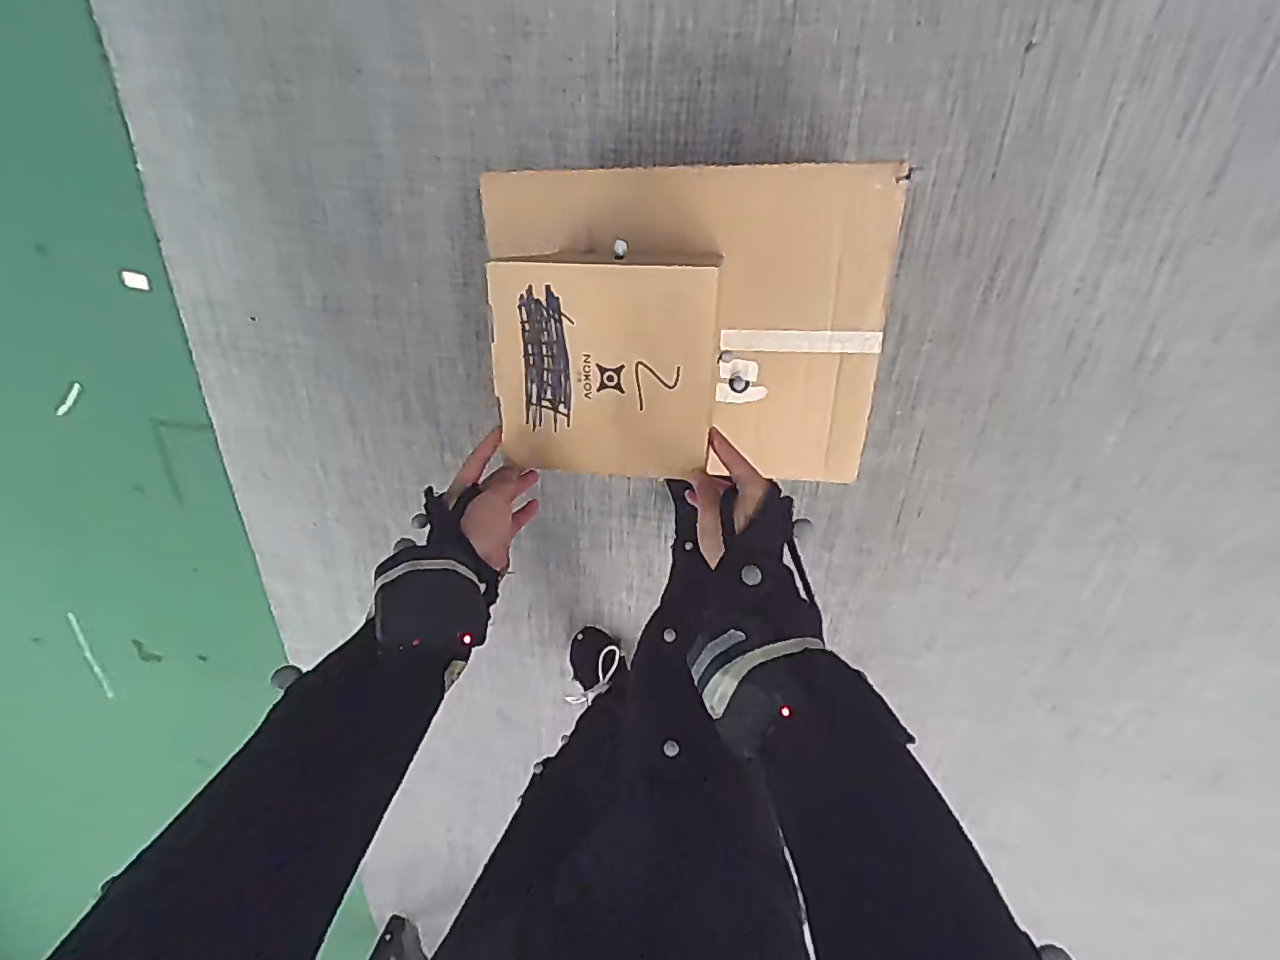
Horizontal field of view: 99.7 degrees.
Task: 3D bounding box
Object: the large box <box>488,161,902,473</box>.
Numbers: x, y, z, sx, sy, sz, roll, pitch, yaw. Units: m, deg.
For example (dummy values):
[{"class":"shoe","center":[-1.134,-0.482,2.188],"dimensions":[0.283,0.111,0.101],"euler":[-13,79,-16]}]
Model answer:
[{"class":"large box","center":[0.066,-0.214,0.710],"dimensions":[0.408,0.320,0.320],"euler":[3,115,8]}]
